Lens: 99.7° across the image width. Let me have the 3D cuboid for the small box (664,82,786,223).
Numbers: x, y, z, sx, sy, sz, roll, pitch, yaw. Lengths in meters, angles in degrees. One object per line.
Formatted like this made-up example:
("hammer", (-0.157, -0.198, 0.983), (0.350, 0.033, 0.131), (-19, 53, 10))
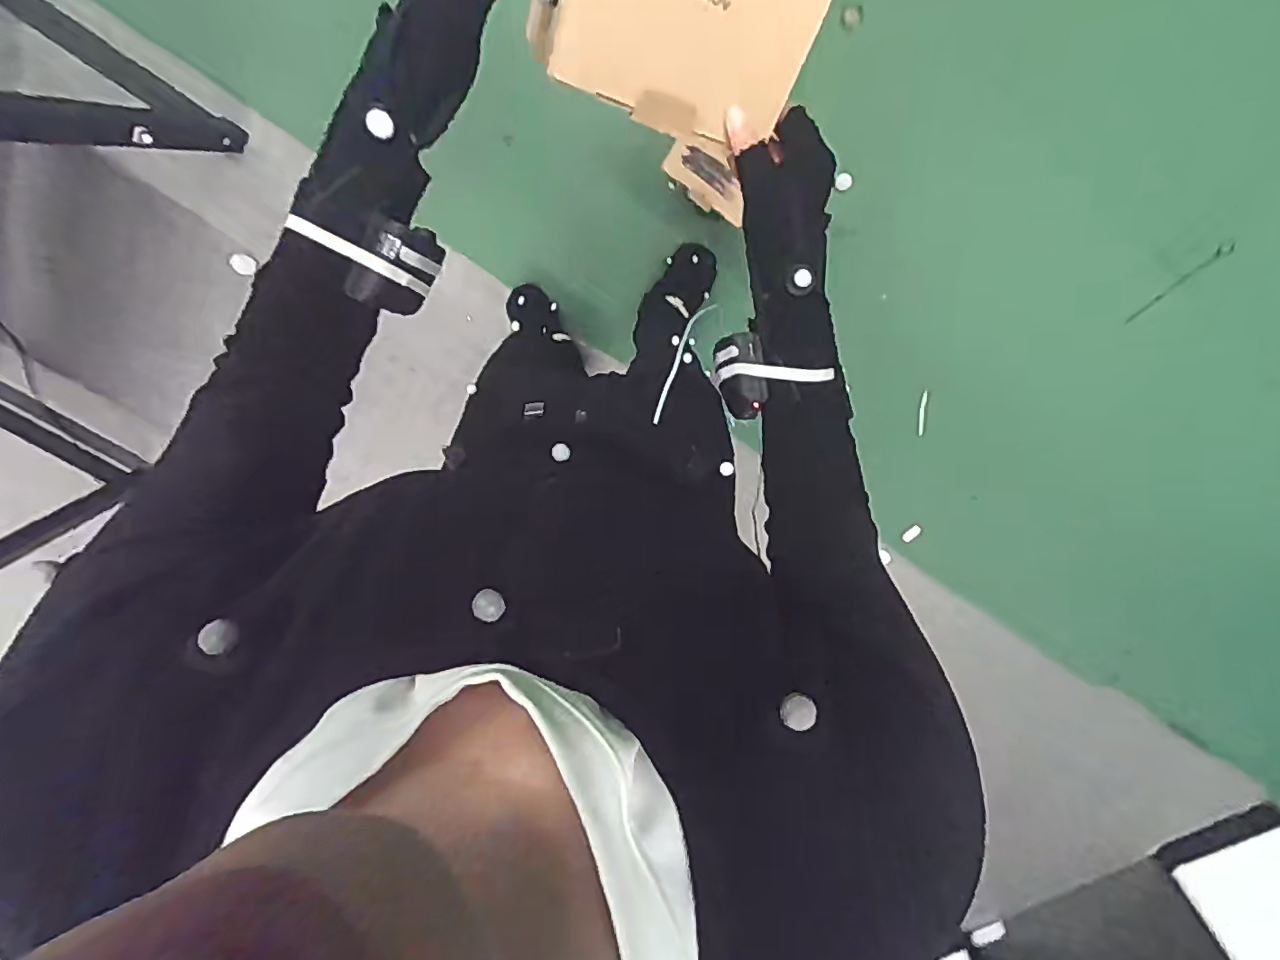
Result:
("small box", (0.169, -0.653, 1.097), (0.168, 0.176, 0.179), (34, 116, -13))
